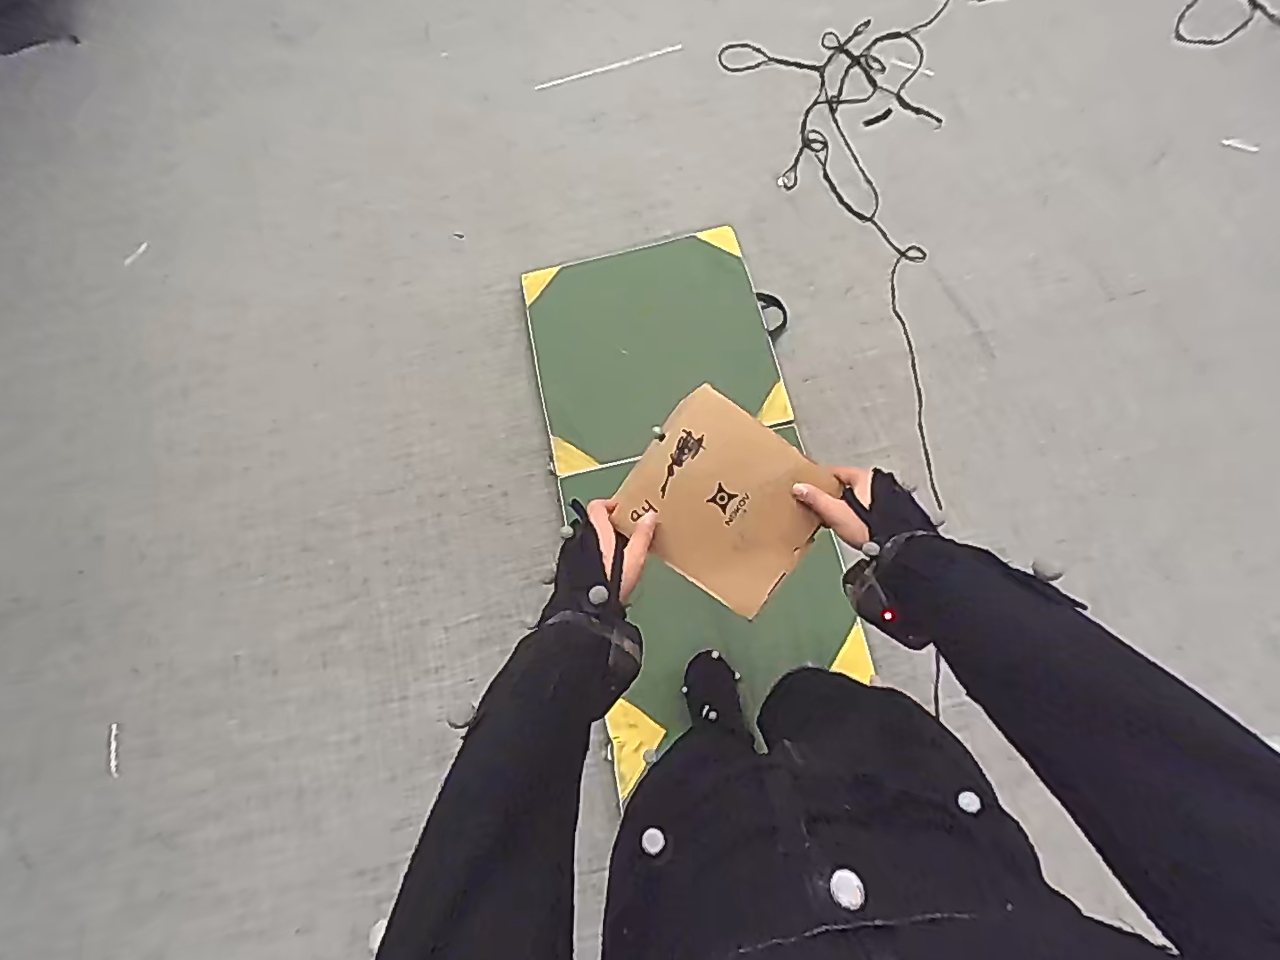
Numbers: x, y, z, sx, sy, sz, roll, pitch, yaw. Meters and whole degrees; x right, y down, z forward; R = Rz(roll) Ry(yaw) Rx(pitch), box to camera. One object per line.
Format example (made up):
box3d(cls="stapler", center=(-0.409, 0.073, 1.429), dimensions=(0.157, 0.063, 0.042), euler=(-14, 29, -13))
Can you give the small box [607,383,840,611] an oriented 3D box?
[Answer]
box3d(cls="small box", center=(0.080, 0.012, 0.609), dimensions=(0.179, 0.176, 0.168), euler=(35, 91, -4))
